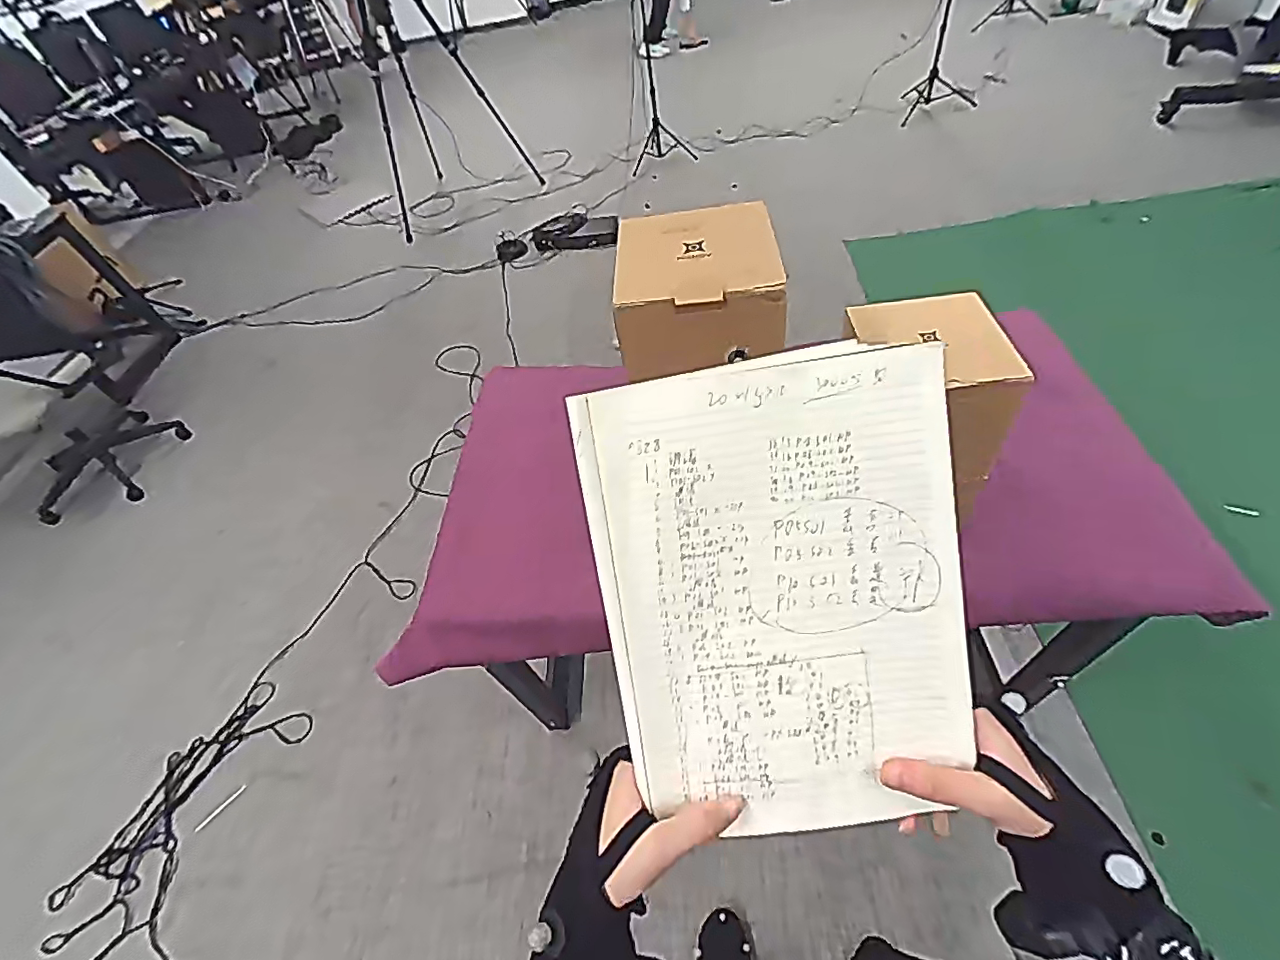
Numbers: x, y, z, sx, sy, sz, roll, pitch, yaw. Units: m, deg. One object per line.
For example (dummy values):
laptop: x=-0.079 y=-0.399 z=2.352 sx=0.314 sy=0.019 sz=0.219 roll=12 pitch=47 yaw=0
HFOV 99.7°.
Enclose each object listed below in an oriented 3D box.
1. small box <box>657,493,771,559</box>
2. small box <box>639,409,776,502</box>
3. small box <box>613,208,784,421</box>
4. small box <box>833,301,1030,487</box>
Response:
small box: x=0.120 y=0.018 z=0.878 sx=0.168 sy=0.176 sz=0.179 roll=-4 pitch=51 yaw=7
small box: x=0.095 y=-0.081 z=0.749 sx=0.168 sy=0.176 sz=0.179 roll=-5 pitch=49 yaw=8
small box: x=0.070 y=-0.180 z=0.622 sx=0.168 sy=0.176 sz=0.179 roll=-4 pitch=50 yaw=8
small box: x=0.364 y=-0.111 z=0.720 sx=0.168 sy=0.176 sz=0.179 roll=-4 pitch=49 yaw=7
